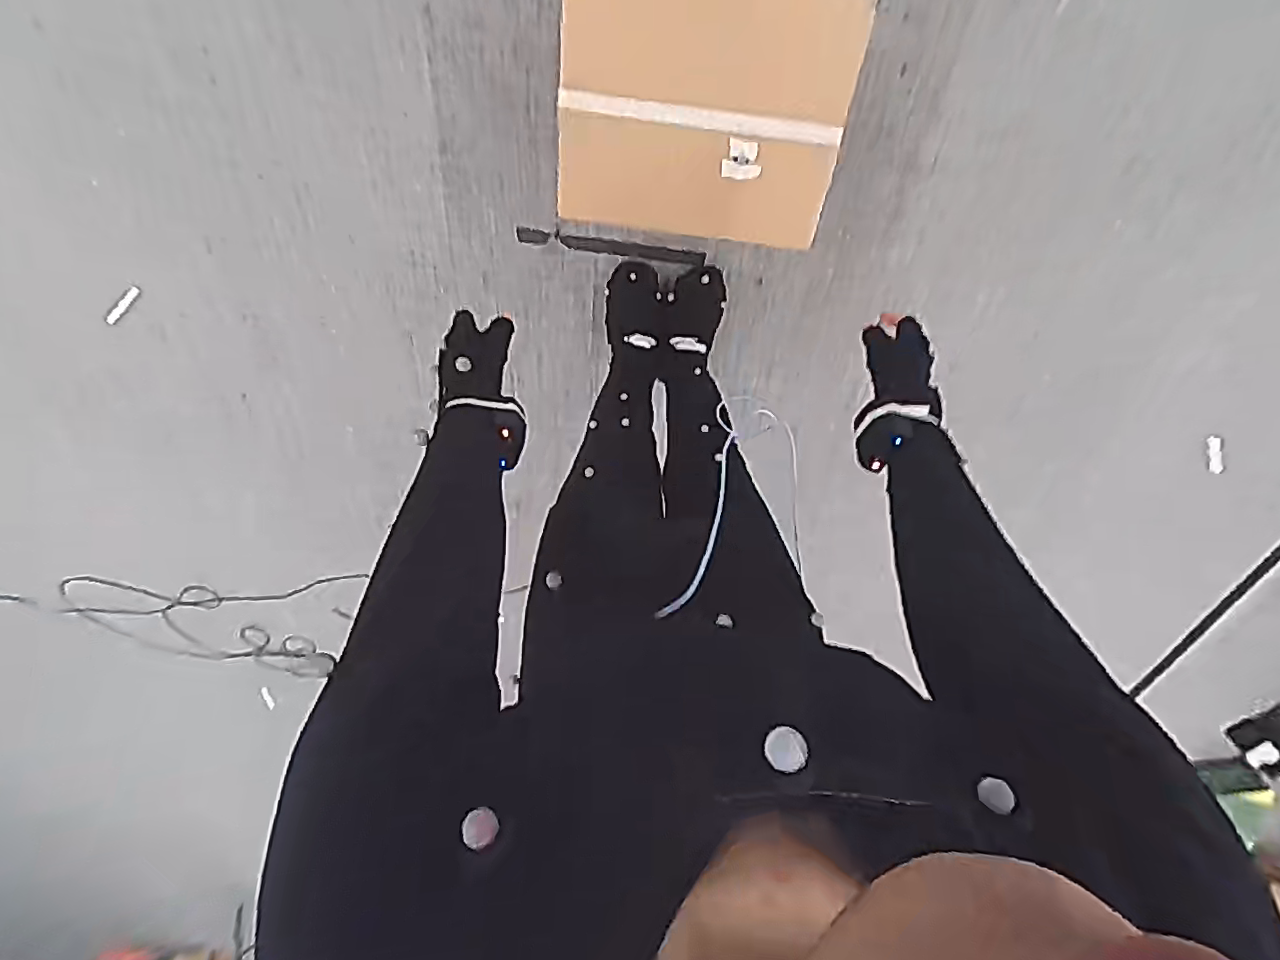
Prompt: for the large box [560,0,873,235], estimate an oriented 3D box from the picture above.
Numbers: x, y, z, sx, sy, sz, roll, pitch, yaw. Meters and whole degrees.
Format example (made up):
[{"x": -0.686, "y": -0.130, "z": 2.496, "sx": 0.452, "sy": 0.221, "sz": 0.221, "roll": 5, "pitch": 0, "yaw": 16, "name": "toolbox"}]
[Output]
[{"x": 0.087, "y": -0.616, "z": 0.879, "sx": 0.408, "sy": 0.320, "sz": 0.320, "roll": 6, "pitch": 127, "yaw": -4, "name": "large box"}]
